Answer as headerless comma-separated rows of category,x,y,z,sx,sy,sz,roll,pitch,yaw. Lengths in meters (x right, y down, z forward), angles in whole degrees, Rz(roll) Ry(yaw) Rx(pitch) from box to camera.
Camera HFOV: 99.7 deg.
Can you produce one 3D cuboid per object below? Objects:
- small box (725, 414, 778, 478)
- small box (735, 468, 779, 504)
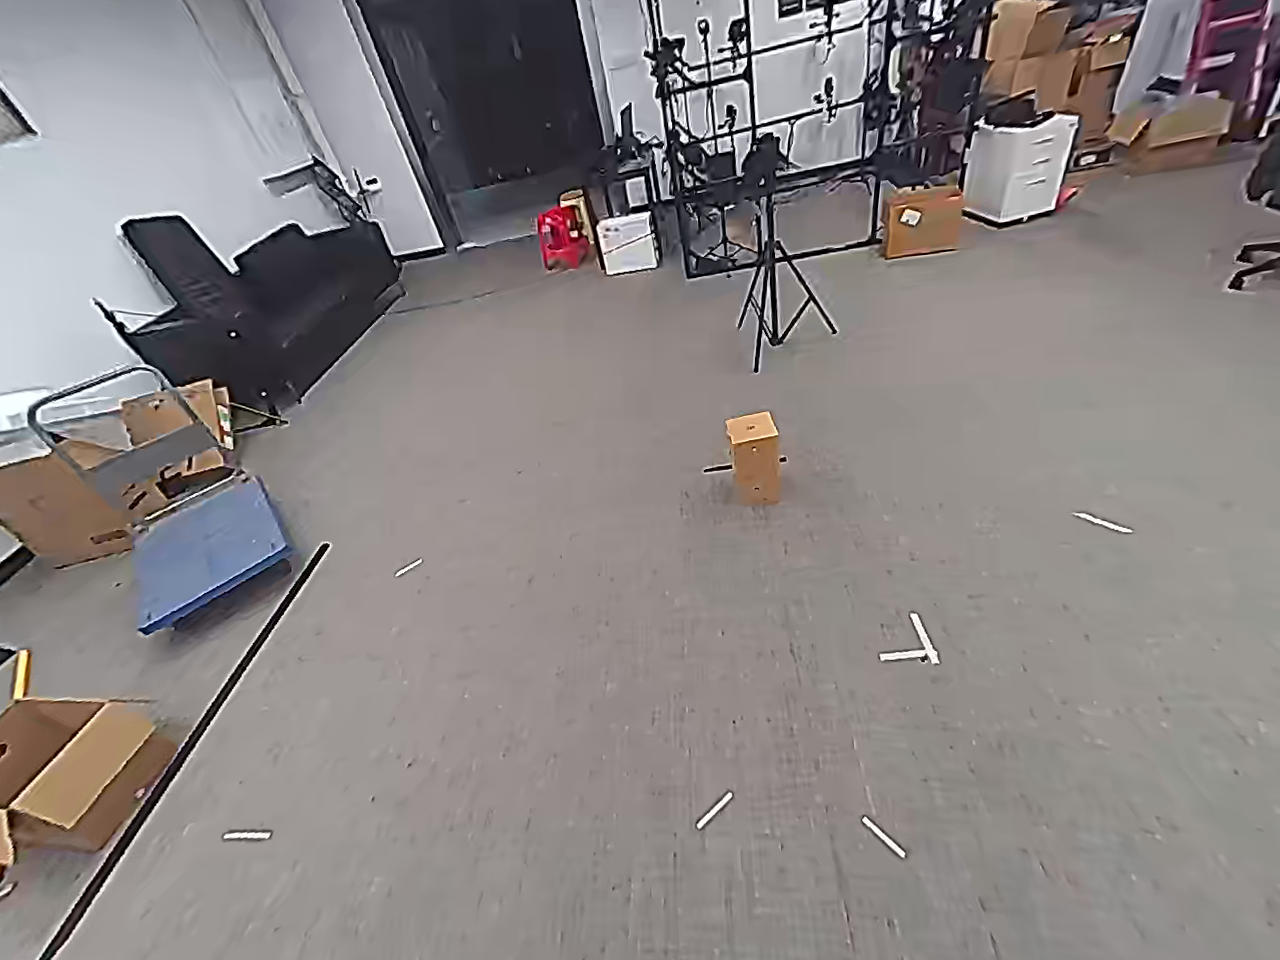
small box,0.438,-0.132,2.112,0.179,0.176,0.168,-12,39,5
small box,0.476,-0.015,2.219,0.168,0.176,0.179,-5,39,11
